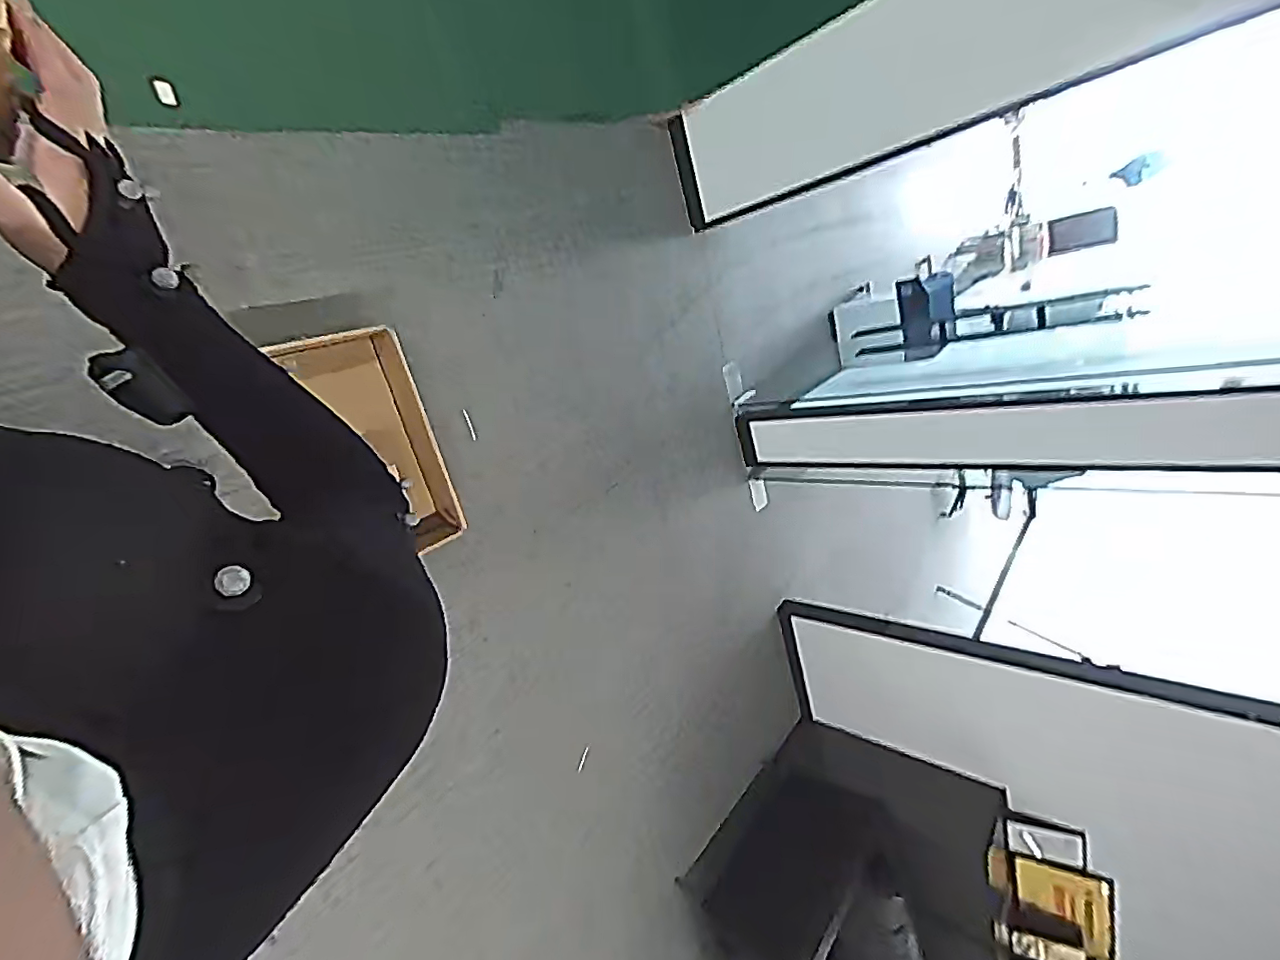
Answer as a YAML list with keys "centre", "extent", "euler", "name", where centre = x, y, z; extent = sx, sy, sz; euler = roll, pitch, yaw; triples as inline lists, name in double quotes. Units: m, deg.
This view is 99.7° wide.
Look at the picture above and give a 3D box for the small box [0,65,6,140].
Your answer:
- centre: [-0.471, -0.321, 0.285]
  extent: [0.168, 0.176, 0.179]
  euler: [-7, 91, -49]
  name: "small box"
